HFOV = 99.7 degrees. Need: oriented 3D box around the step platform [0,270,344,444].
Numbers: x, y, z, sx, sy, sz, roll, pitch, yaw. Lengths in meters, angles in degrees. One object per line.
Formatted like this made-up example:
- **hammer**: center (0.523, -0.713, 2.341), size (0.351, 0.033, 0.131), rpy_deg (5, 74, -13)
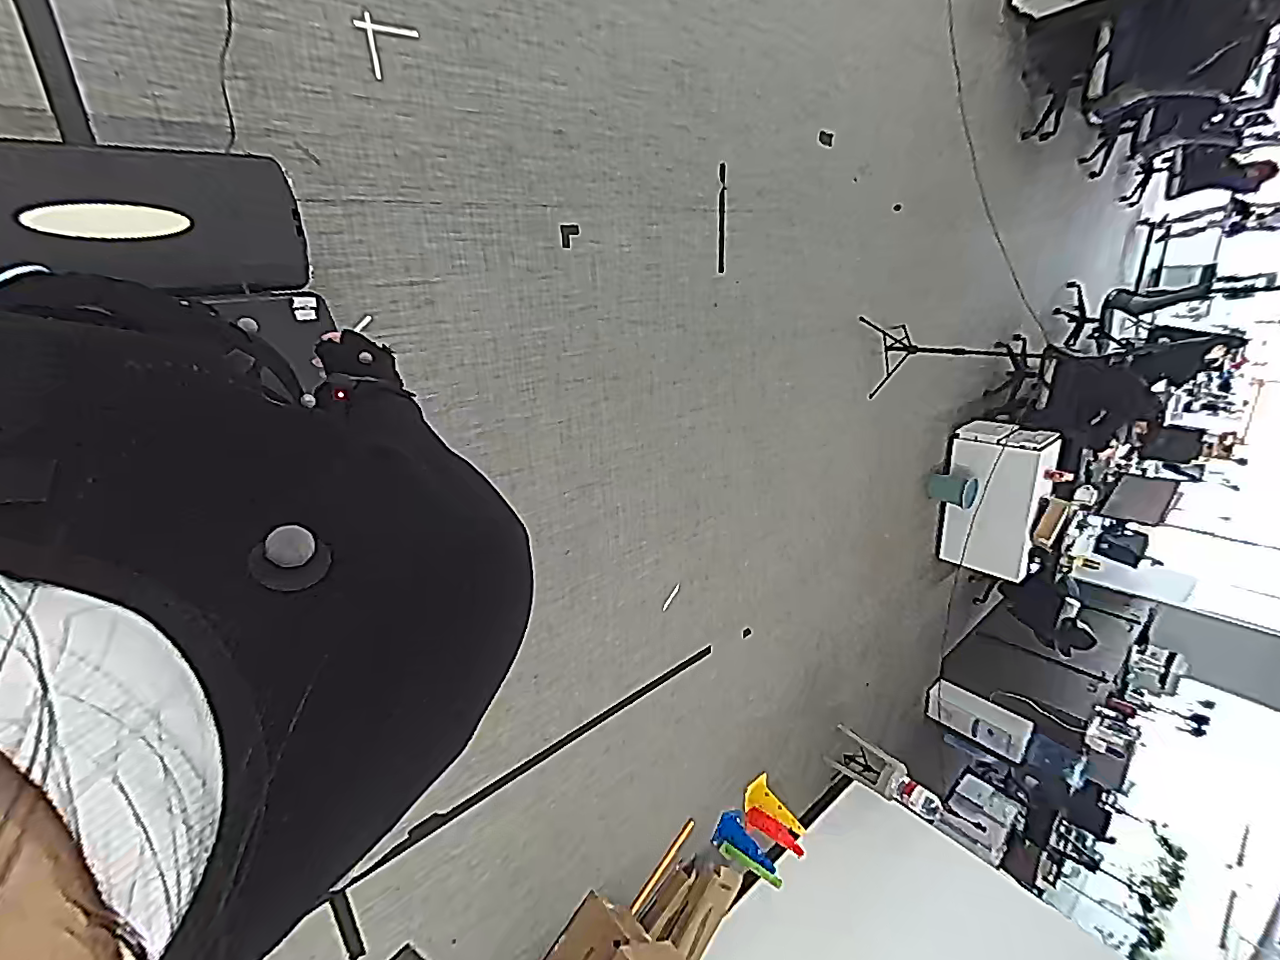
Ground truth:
- **step platform**: center (-1.018, -0.279, 1.143), size (0.684, 0.204, 0.286), rpy_deg (-19, 114, -34)
